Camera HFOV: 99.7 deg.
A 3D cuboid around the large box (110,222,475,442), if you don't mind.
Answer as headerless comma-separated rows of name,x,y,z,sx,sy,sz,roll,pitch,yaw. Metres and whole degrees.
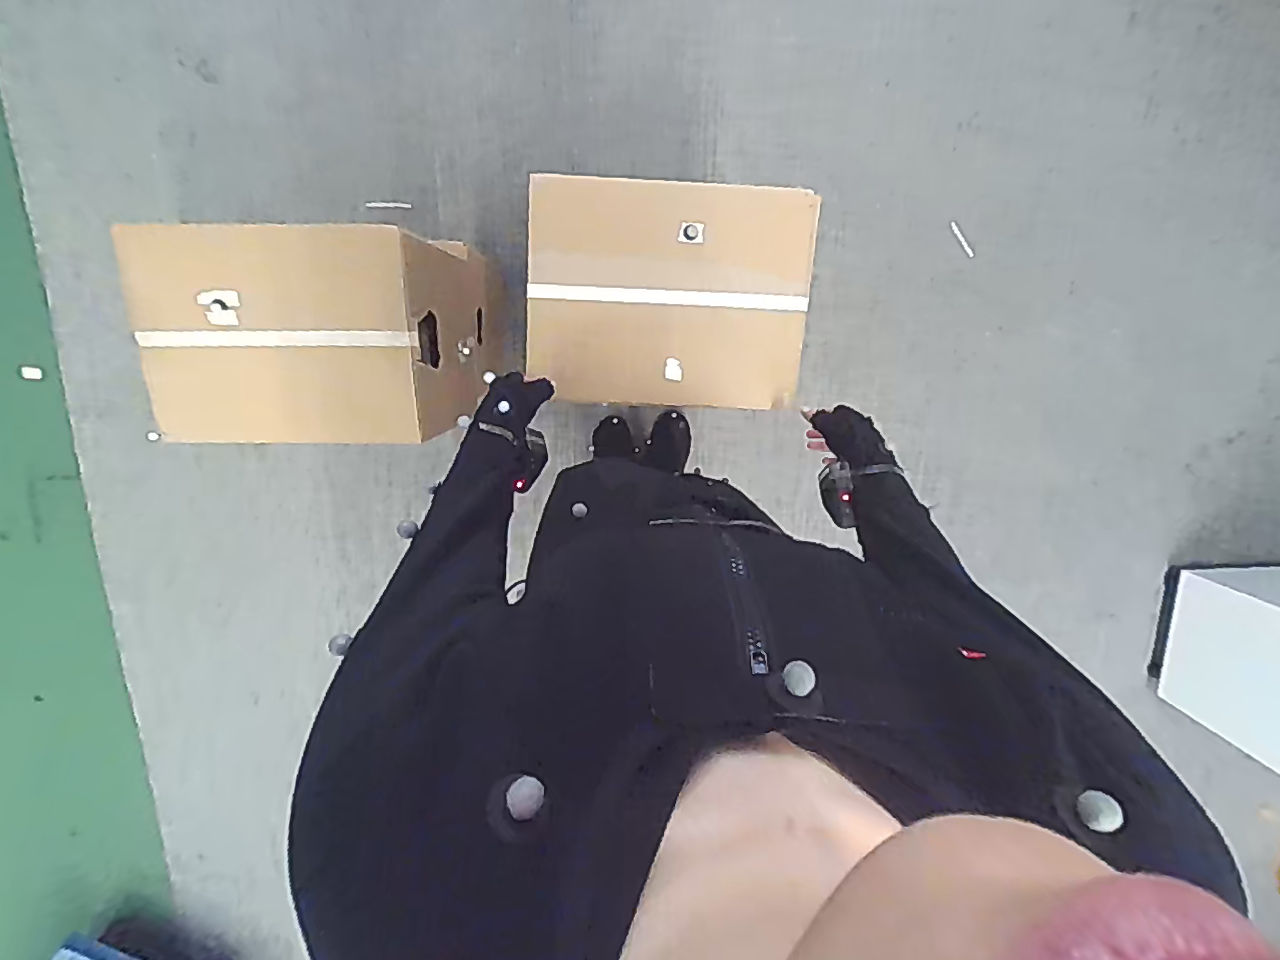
large box,-0.538,-0.248,0.933,0.408,0.320,0.320,1,105,0
